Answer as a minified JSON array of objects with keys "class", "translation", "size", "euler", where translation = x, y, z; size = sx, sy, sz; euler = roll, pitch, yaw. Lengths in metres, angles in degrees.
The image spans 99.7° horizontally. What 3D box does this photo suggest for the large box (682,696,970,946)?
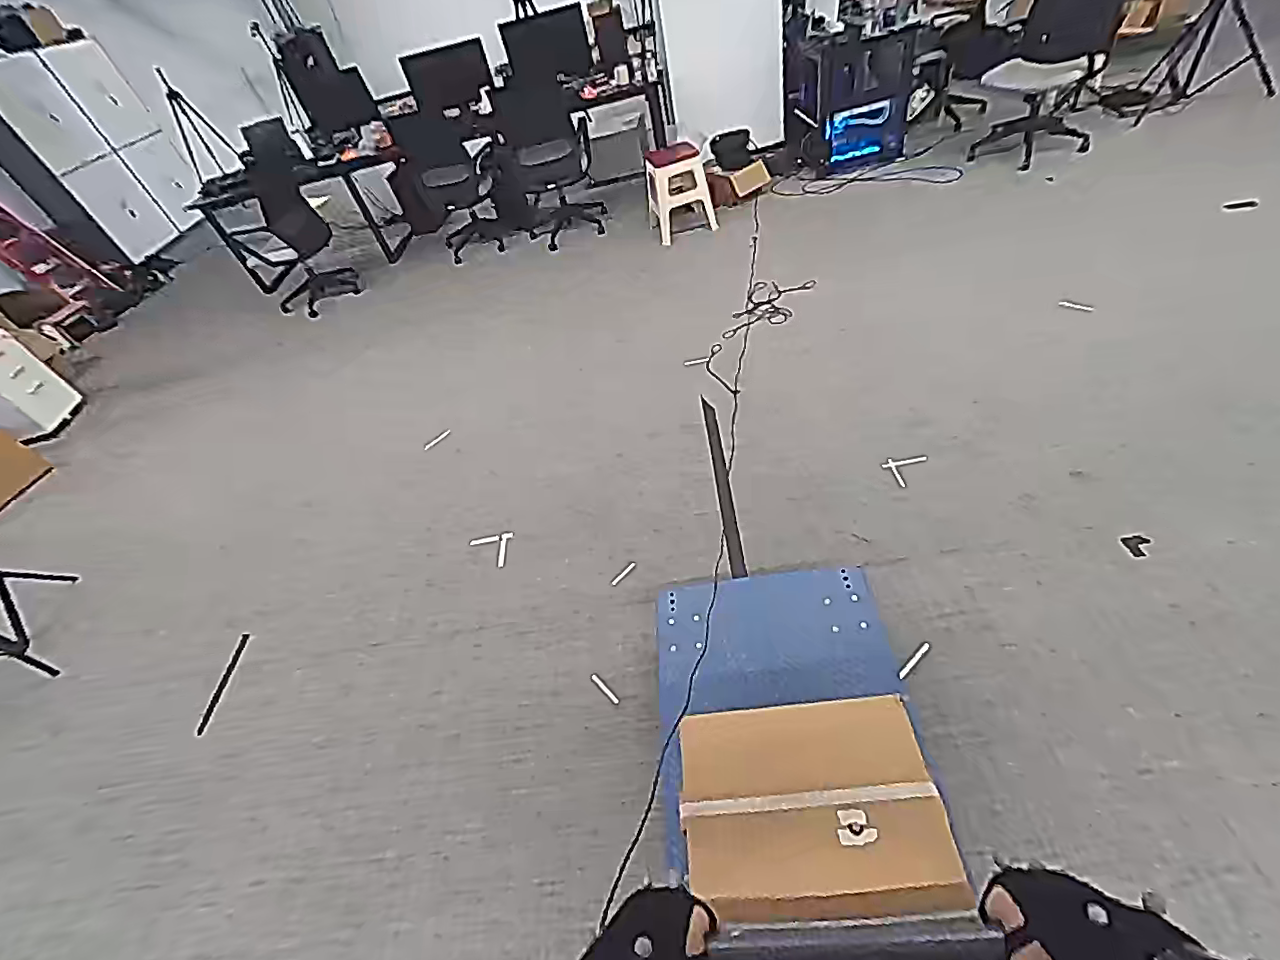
[{"class":"large box","translation":[0.307,0.638,1.005],"size":[0.408,0.320,0.320],"euler":[-9,45,7]}]
